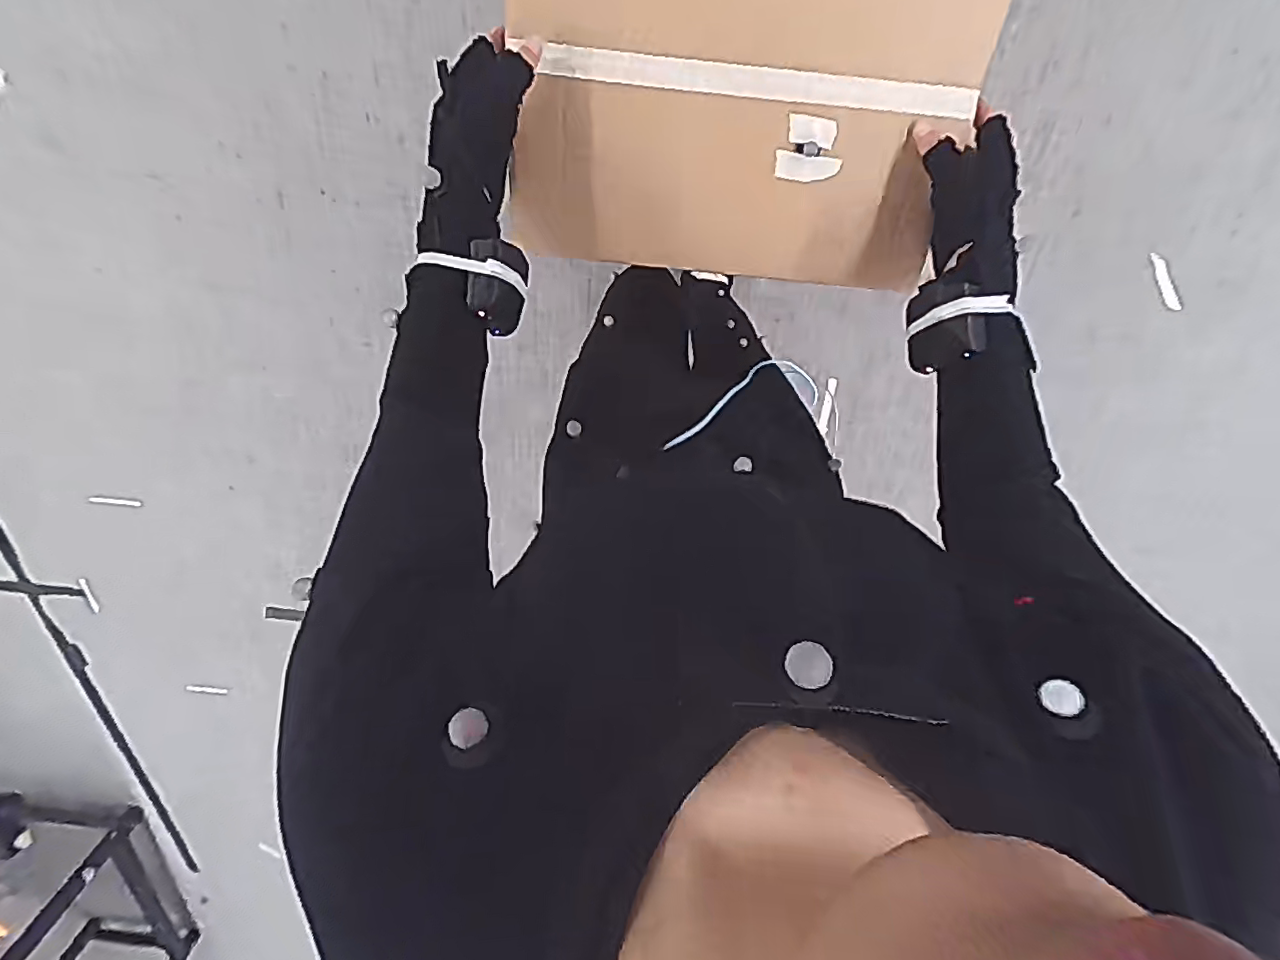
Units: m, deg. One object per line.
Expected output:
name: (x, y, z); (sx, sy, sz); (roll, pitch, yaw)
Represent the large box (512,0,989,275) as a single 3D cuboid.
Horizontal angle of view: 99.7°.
large box: (0.087, -0.434, 0.604); (0.408, 0.320, 0.320); (5, 122, -3)
